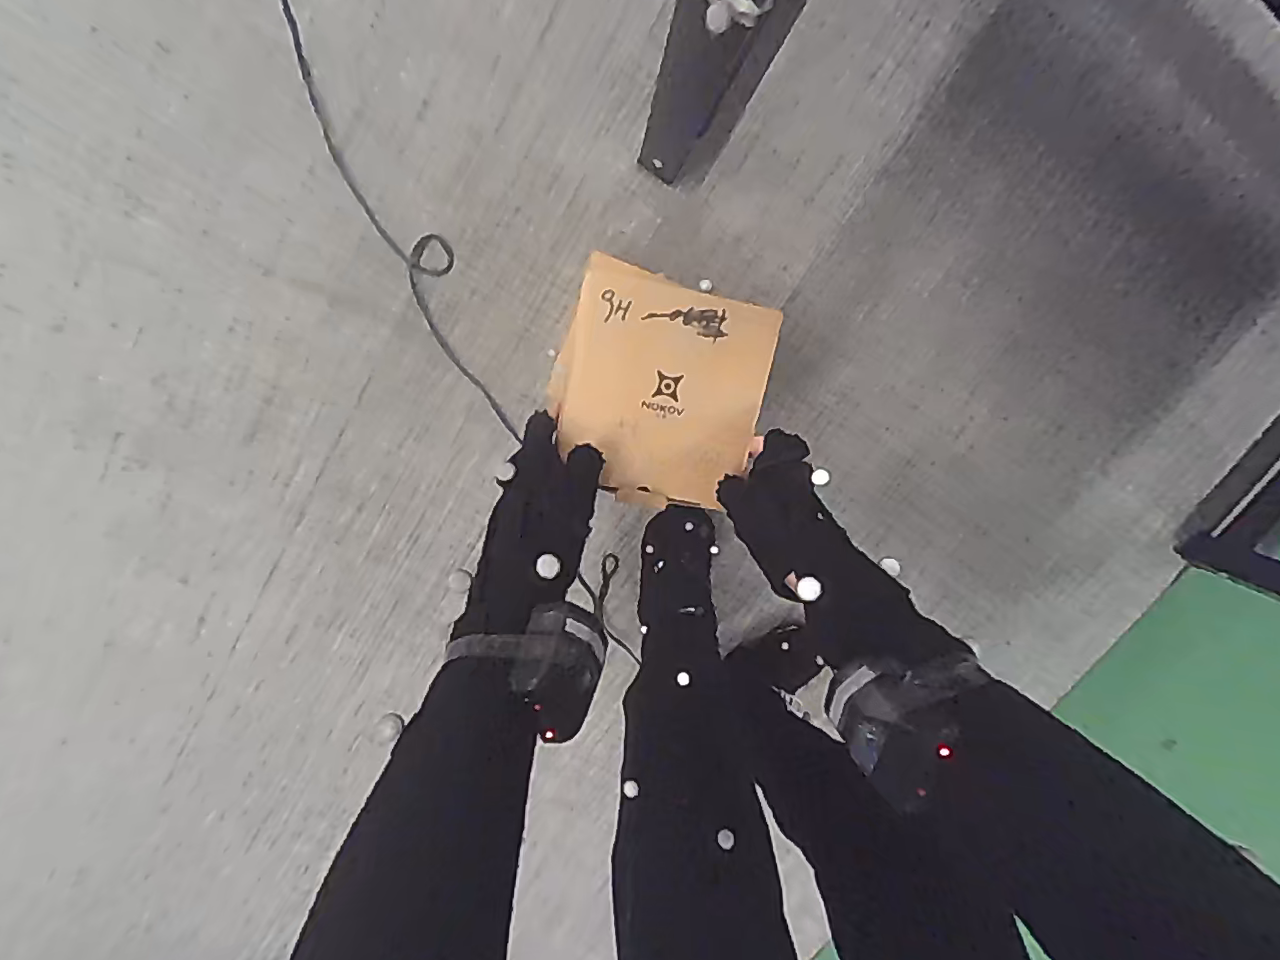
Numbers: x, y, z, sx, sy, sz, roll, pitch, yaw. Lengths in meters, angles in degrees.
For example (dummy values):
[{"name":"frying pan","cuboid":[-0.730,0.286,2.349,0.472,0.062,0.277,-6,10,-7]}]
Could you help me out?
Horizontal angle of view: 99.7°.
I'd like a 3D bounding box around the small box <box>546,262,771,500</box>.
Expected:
[{"name":"small box","cuboid":[0.011,-0.095,0.530,0.168,0.176,0.179,9,102,-5]}]
